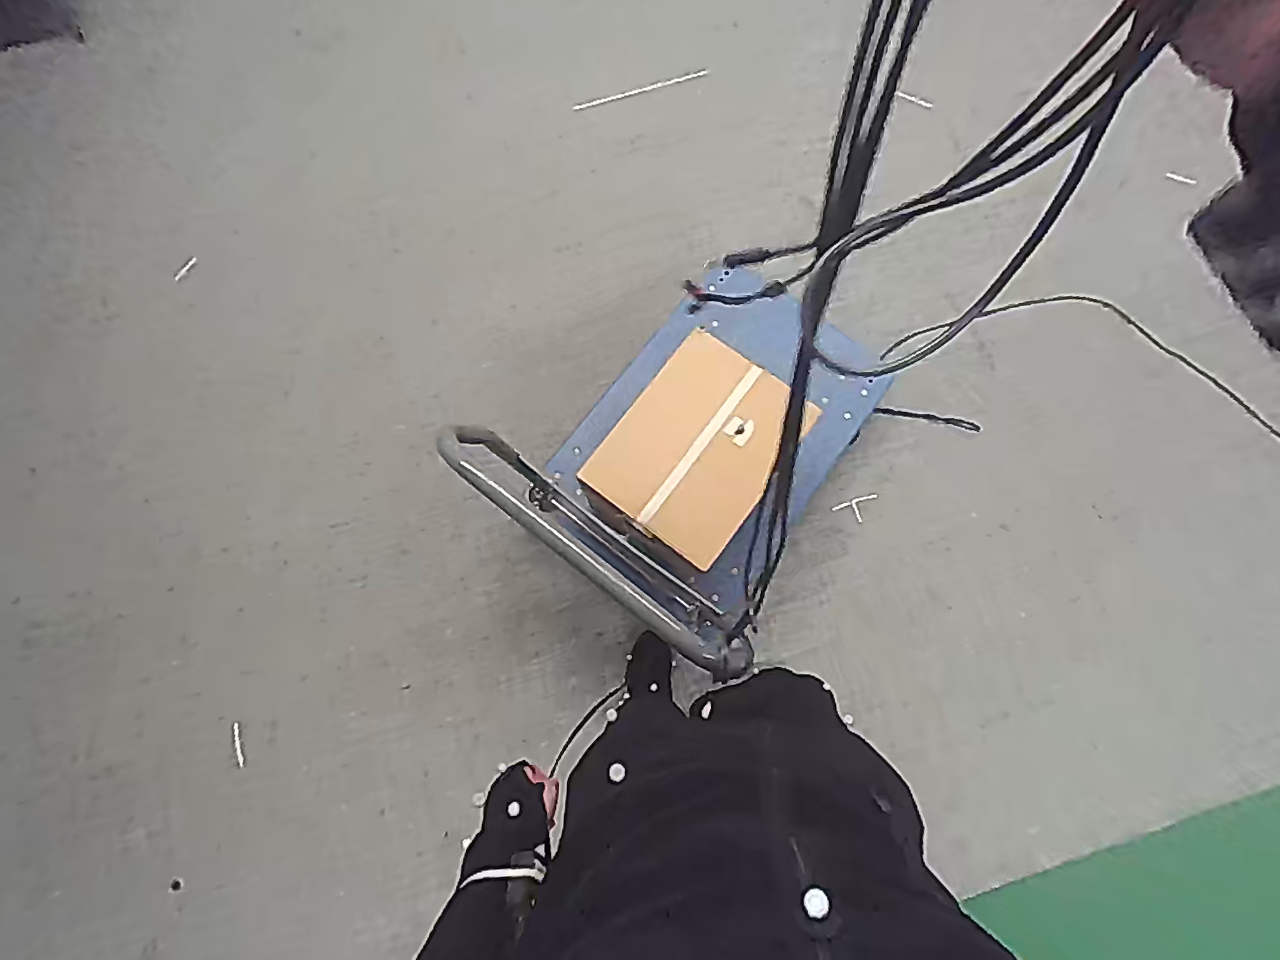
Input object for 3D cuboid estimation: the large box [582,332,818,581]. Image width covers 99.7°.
[{"bbox_3d":[0.121,-0.032,1.205,0.320,0.320,0.408,36,79,8],"label":"large box"}]
